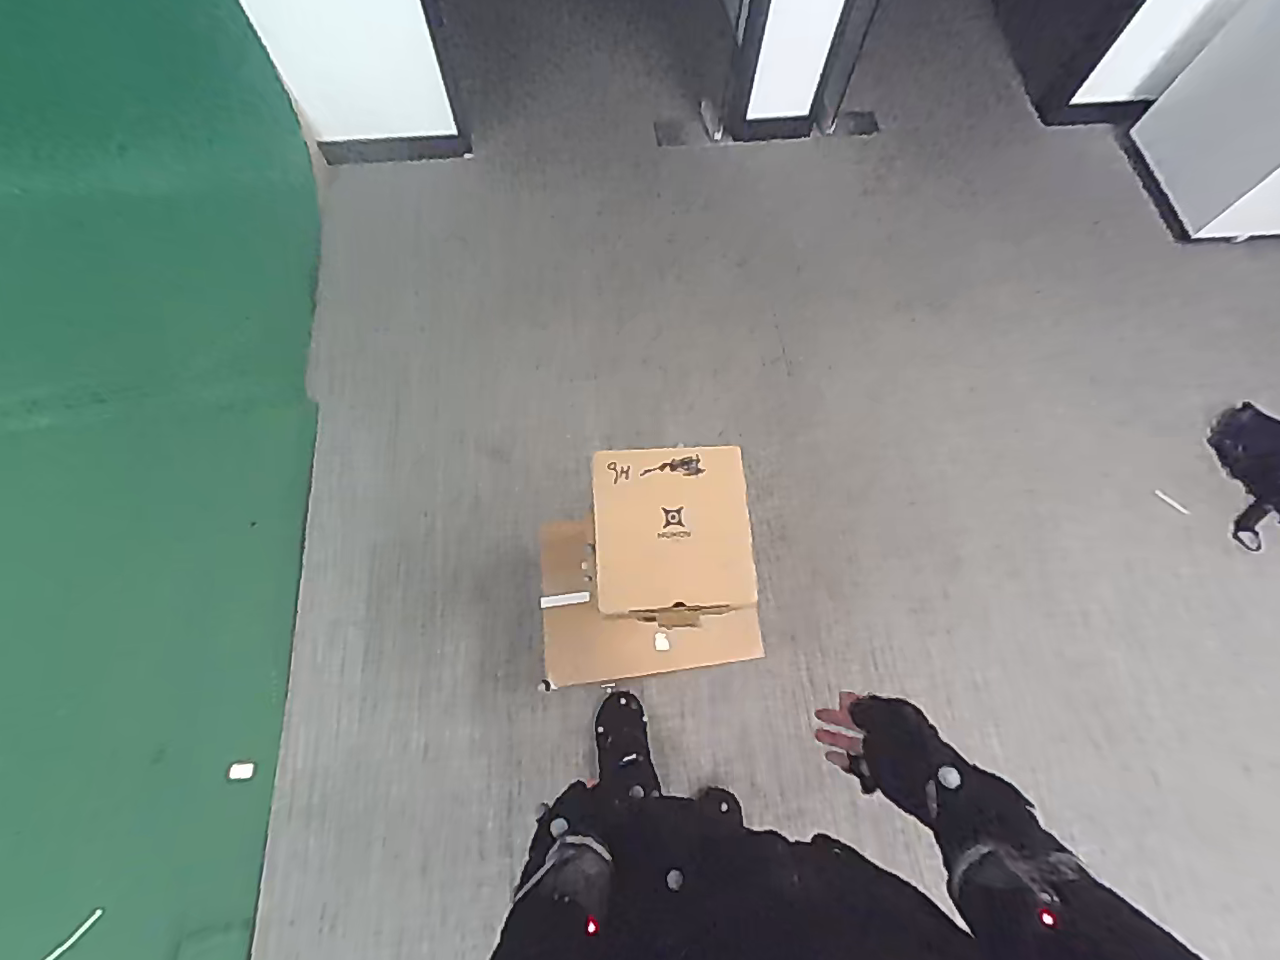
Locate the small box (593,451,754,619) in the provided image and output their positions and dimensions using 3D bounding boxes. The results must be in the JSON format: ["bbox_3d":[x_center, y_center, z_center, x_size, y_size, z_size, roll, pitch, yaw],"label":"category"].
[{"bbox_3d":[0.030,0.074,0.653,0.168,0.176,0.179,-2,74,-4],"label":"small box"}]
